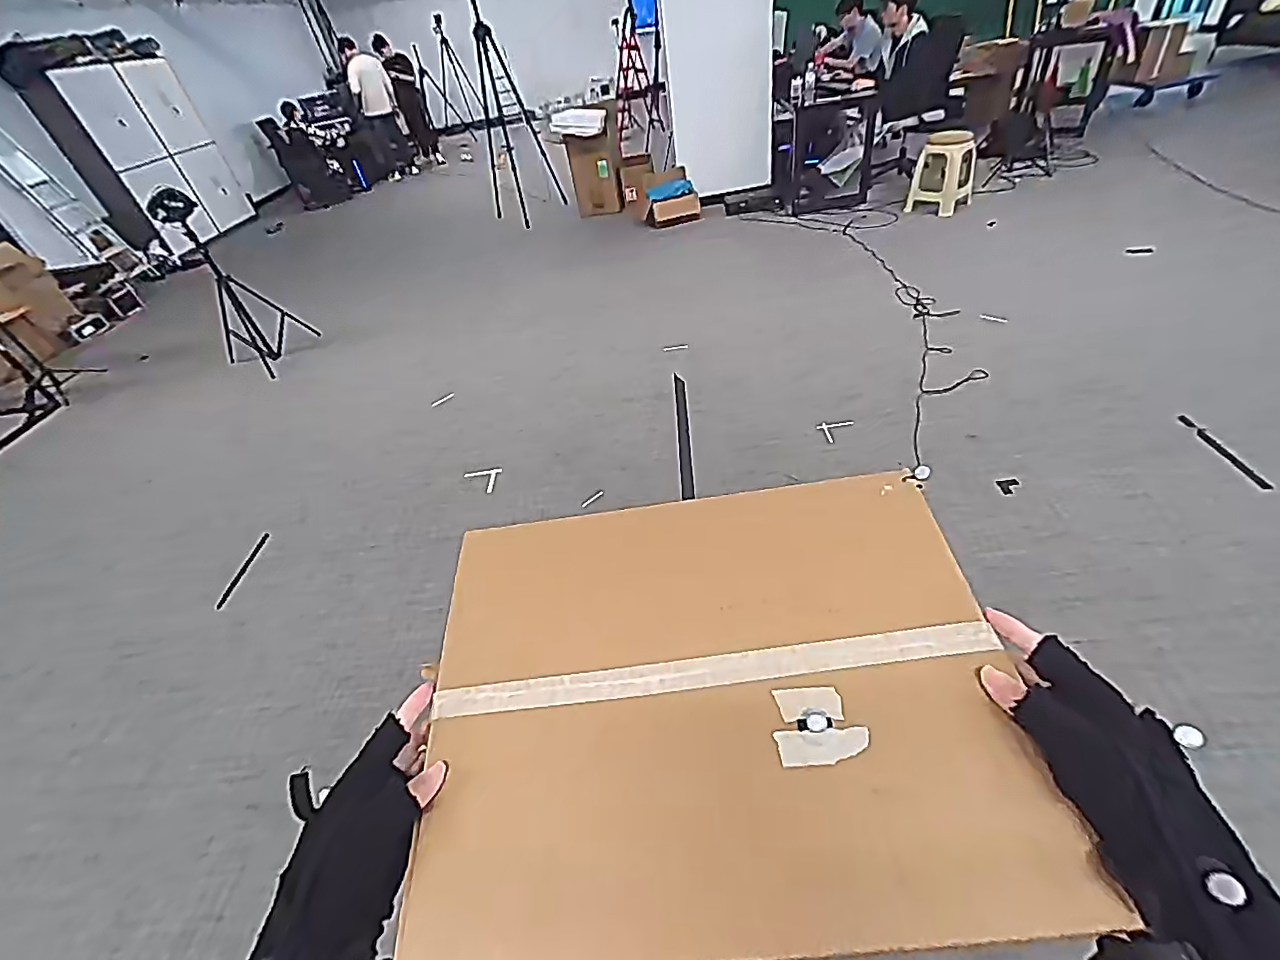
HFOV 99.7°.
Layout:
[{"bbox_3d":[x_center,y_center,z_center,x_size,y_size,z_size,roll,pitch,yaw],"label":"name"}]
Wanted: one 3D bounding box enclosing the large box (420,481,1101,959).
[{"bbox_3d":[0.070,0.240,0.517,0.408,0.320,0.320,-8,51,3],"label":"large box"}]
